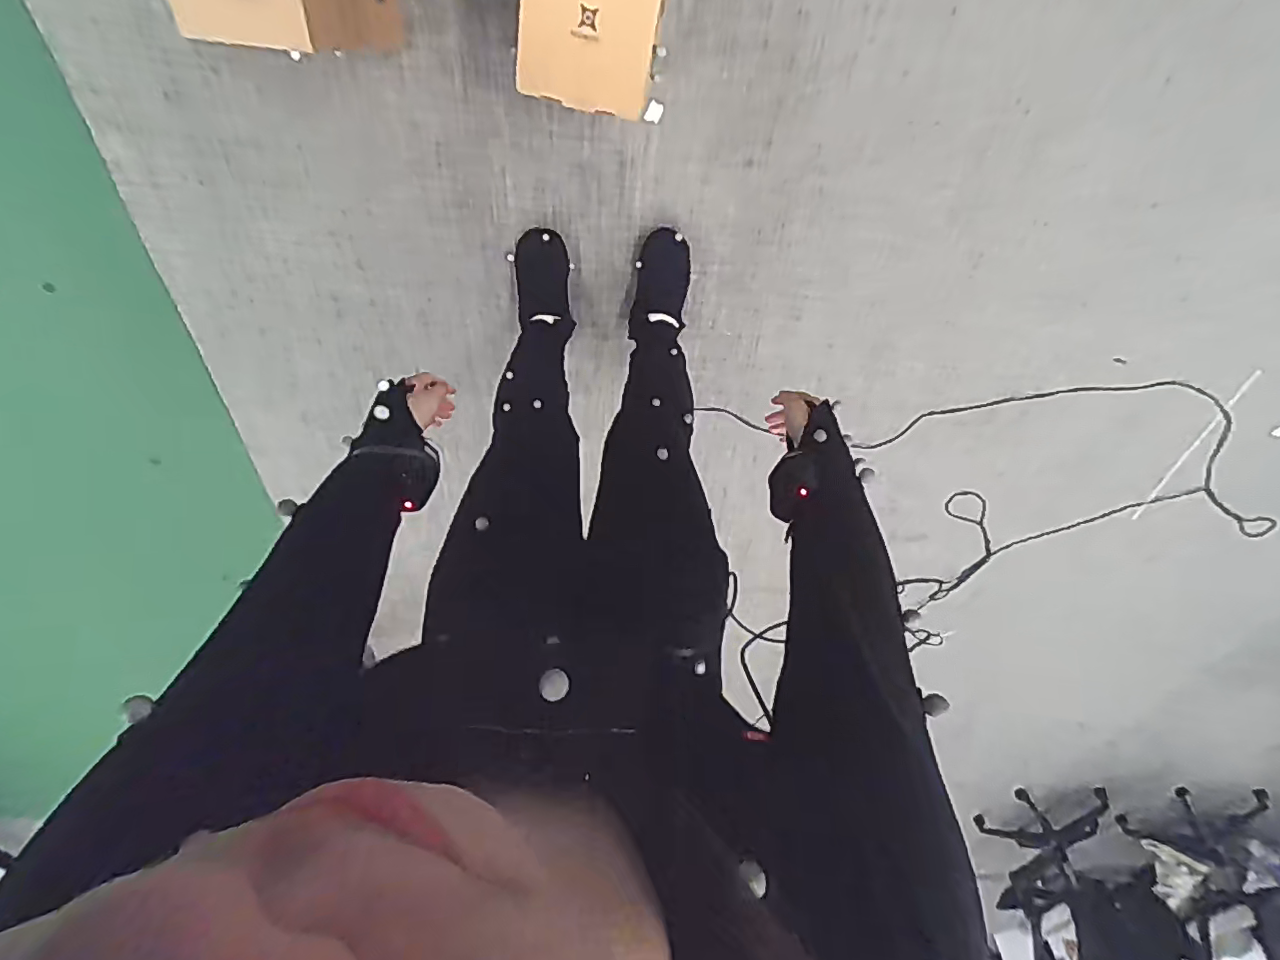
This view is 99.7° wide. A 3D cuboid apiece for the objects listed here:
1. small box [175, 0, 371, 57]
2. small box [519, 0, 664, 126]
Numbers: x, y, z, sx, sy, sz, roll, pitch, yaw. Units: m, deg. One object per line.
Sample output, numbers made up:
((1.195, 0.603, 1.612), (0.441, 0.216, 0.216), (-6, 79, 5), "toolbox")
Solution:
((-0.473, -0.661, 0.687), (0.168, 0.176, 0.179), (6, 131, -1), "small box")
((-0.059, -0.604, 0.721), (0.168, 0.176, 0.179), (10, 130, -6), "small box")
